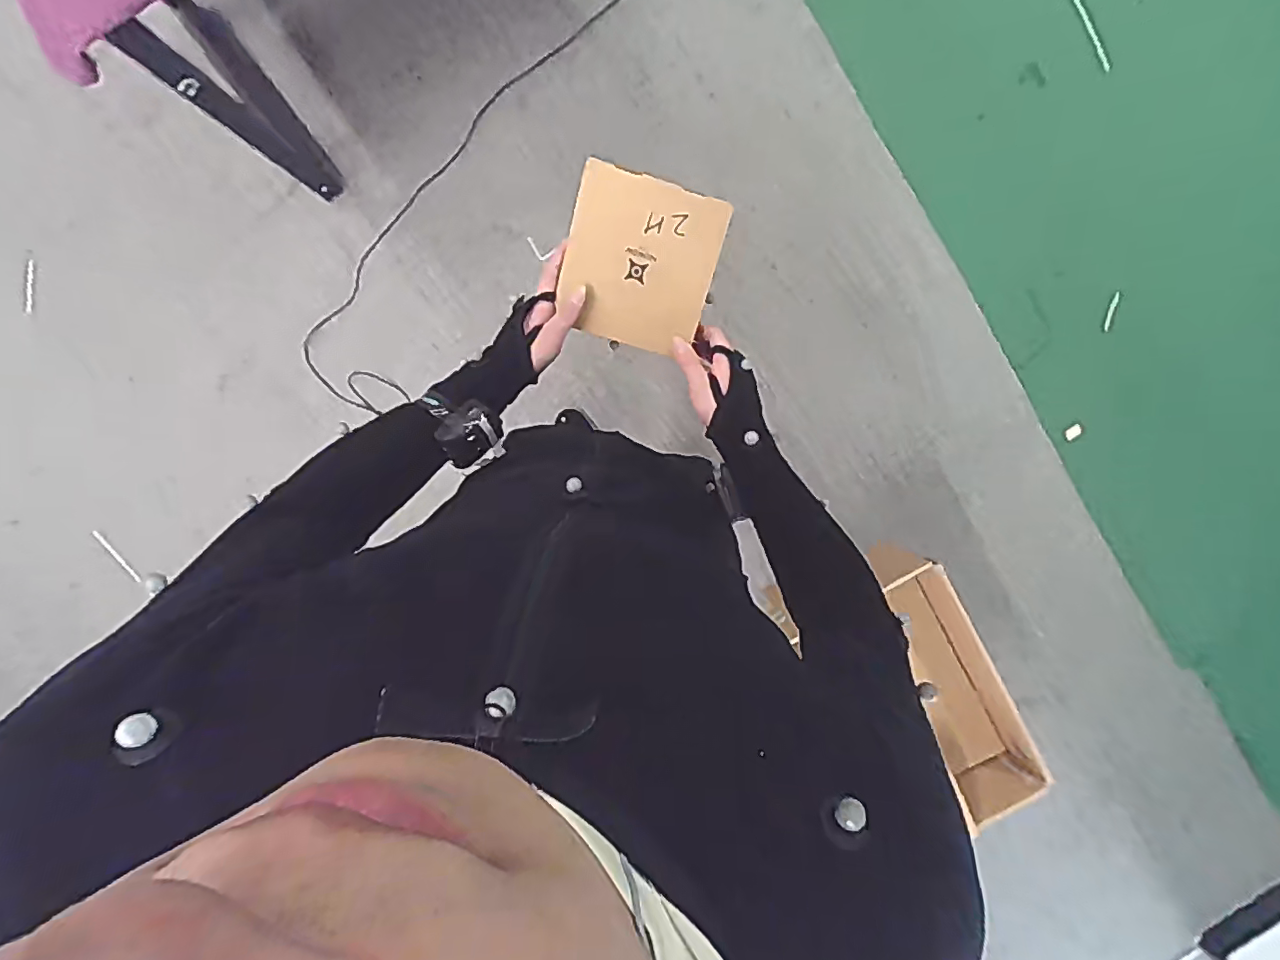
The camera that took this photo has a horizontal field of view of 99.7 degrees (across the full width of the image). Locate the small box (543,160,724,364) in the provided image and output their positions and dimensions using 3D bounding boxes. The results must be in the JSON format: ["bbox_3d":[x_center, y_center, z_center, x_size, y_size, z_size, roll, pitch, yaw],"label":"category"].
[{"bbox_3d":[-0.010,-0.256,0.668,0.168,0.176,0.179,14,106,-6],"label":"small box"}]
